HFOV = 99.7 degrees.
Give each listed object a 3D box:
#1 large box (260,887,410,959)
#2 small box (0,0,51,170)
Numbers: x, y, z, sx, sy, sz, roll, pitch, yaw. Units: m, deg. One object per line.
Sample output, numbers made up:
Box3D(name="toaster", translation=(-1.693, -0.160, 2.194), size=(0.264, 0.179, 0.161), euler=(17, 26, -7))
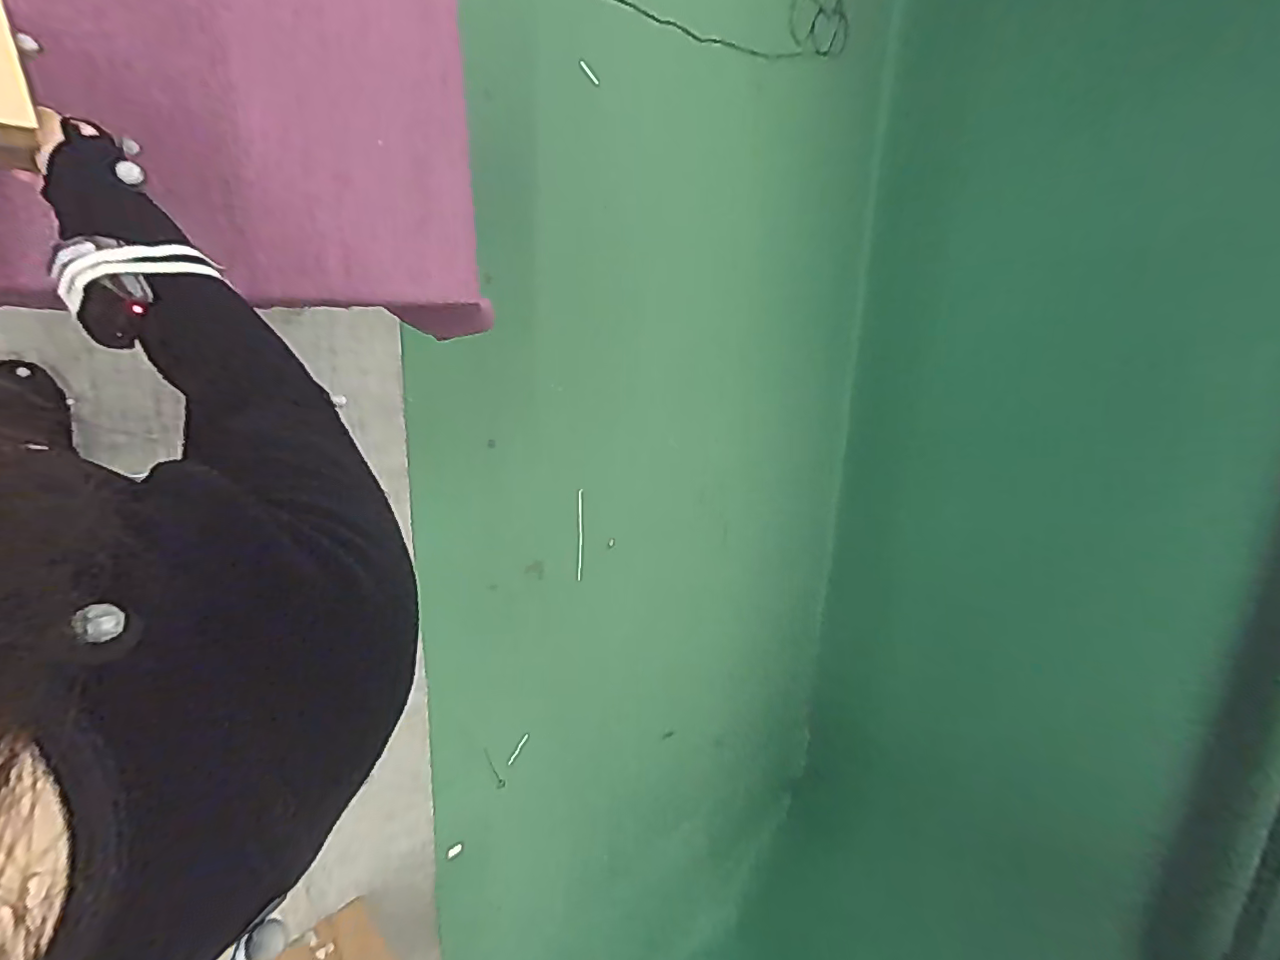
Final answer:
Box3D(name="large box", translation=(-0.861, 1.514, 1.546), size=(0.320, 0.320, 0.408), euler=(-15, 113, -46))
Box3D(name="small box", translation=(-0.516, -0.306, 0.334), size=(0.179, 0.176, 0.168), euler=(-18, 114, -43))
